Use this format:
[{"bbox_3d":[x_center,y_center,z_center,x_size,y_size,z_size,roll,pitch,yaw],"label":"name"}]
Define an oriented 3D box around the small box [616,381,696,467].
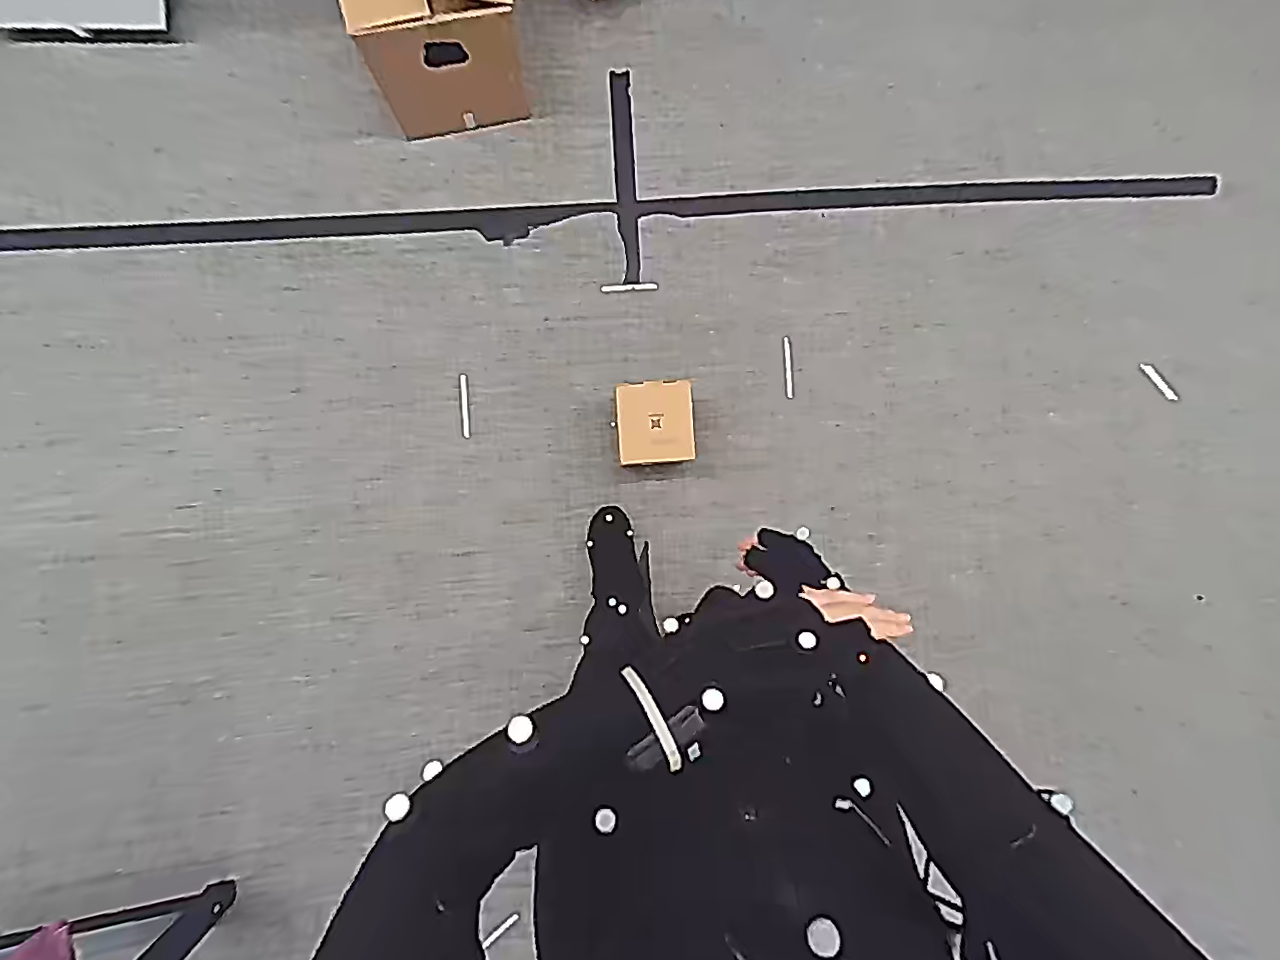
[{"bbox_3d":[0.031,-0.123,1.252,0.168,0.176,0.179,-4,90,-3],"label":"small box"}]
